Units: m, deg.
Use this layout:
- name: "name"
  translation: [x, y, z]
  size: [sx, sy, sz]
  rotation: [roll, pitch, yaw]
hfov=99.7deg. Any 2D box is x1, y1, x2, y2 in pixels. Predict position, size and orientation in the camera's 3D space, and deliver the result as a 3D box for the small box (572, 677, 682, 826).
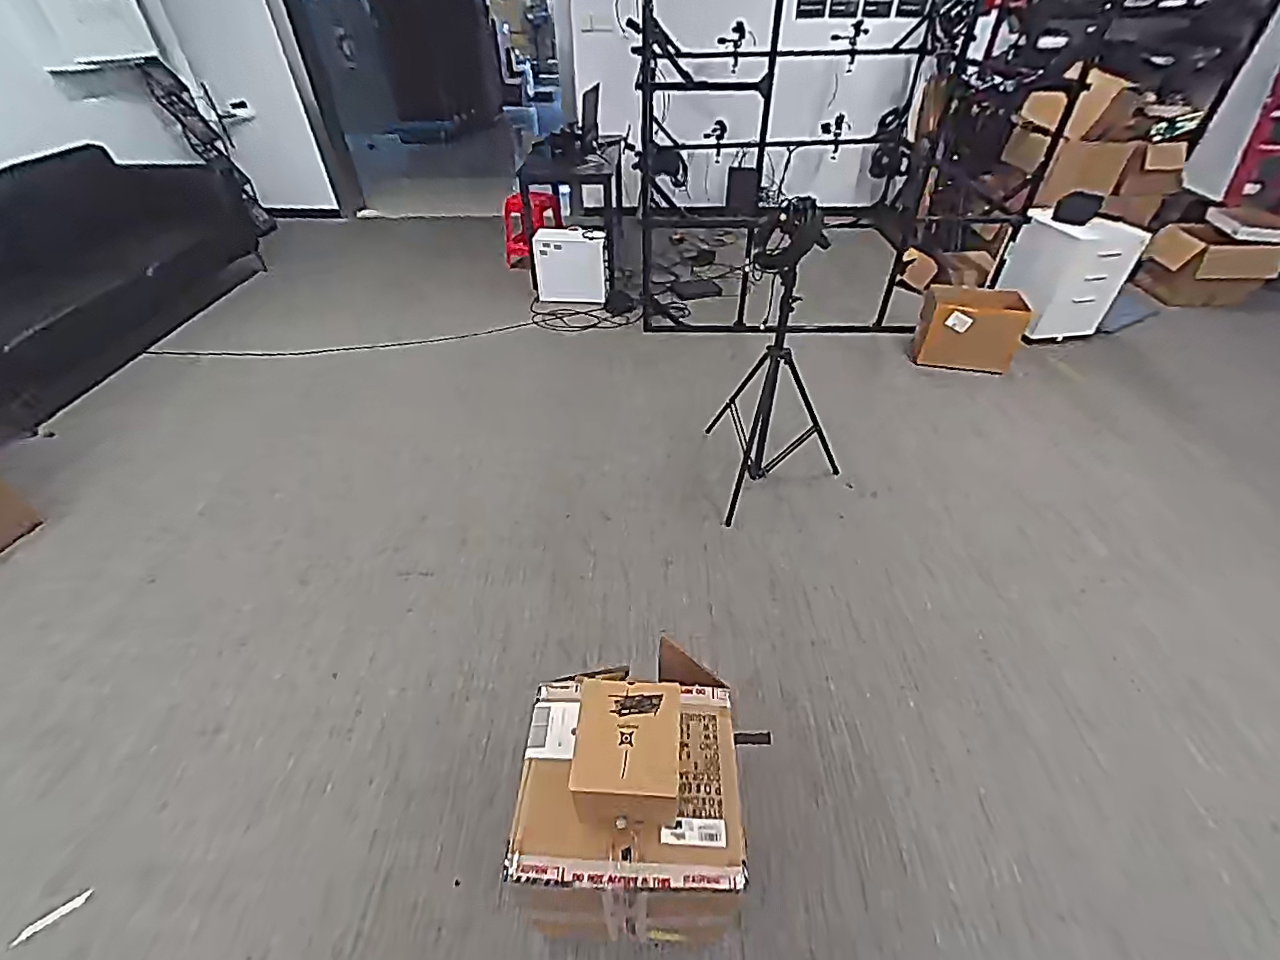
- name: "small box"
  translation: [-0.016, 0.457, 0.914]
  size: [0.168, 0.176, 0.179]
  rotation: [2, 45, 3]
